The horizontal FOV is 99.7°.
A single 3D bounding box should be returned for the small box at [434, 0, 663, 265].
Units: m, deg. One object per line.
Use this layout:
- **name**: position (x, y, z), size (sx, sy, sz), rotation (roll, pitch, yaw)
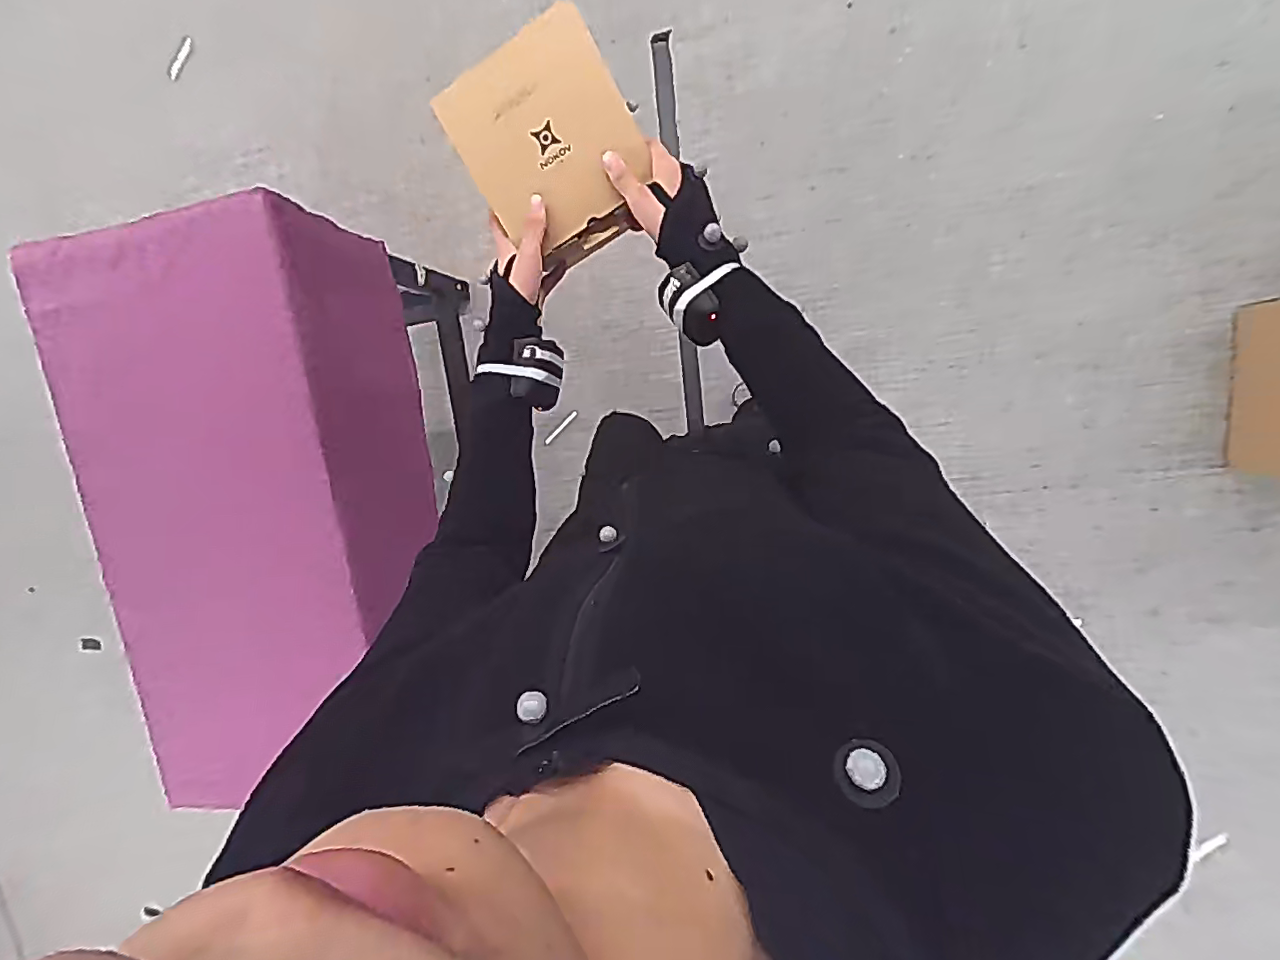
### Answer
- **small box**: position (-0.083, -0.359, 0.600), size (0.168, 0.176, 0.179), rotation (-28, 105, 11)
